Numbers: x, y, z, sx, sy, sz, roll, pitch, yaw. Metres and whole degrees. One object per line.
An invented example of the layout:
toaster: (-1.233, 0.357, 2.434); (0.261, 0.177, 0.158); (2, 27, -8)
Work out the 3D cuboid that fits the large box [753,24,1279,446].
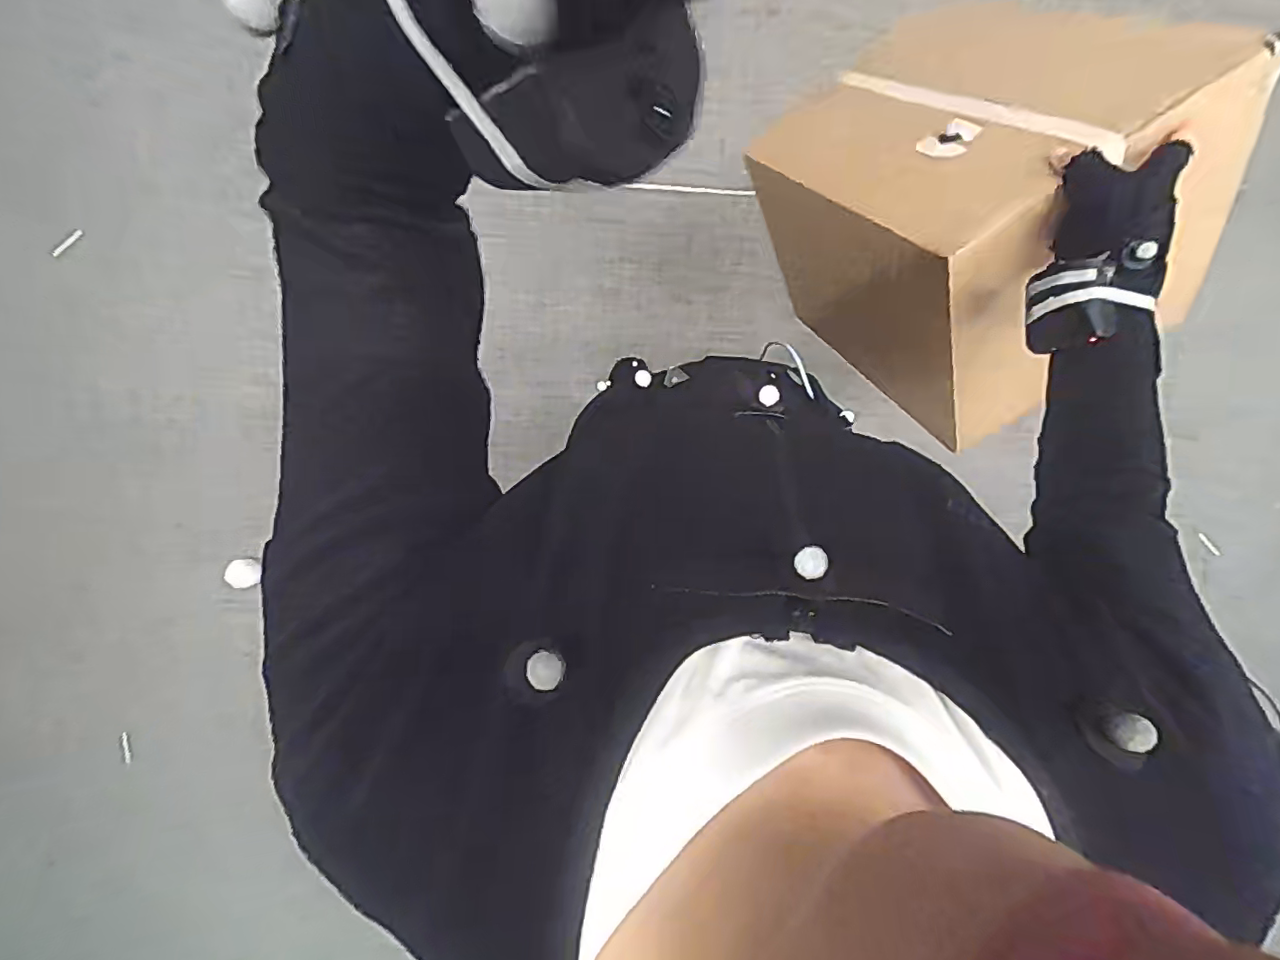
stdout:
large box: (0.410, -0.324, 0.711); (0.320, 0.408, 0.320); (-33, 136, 7)
